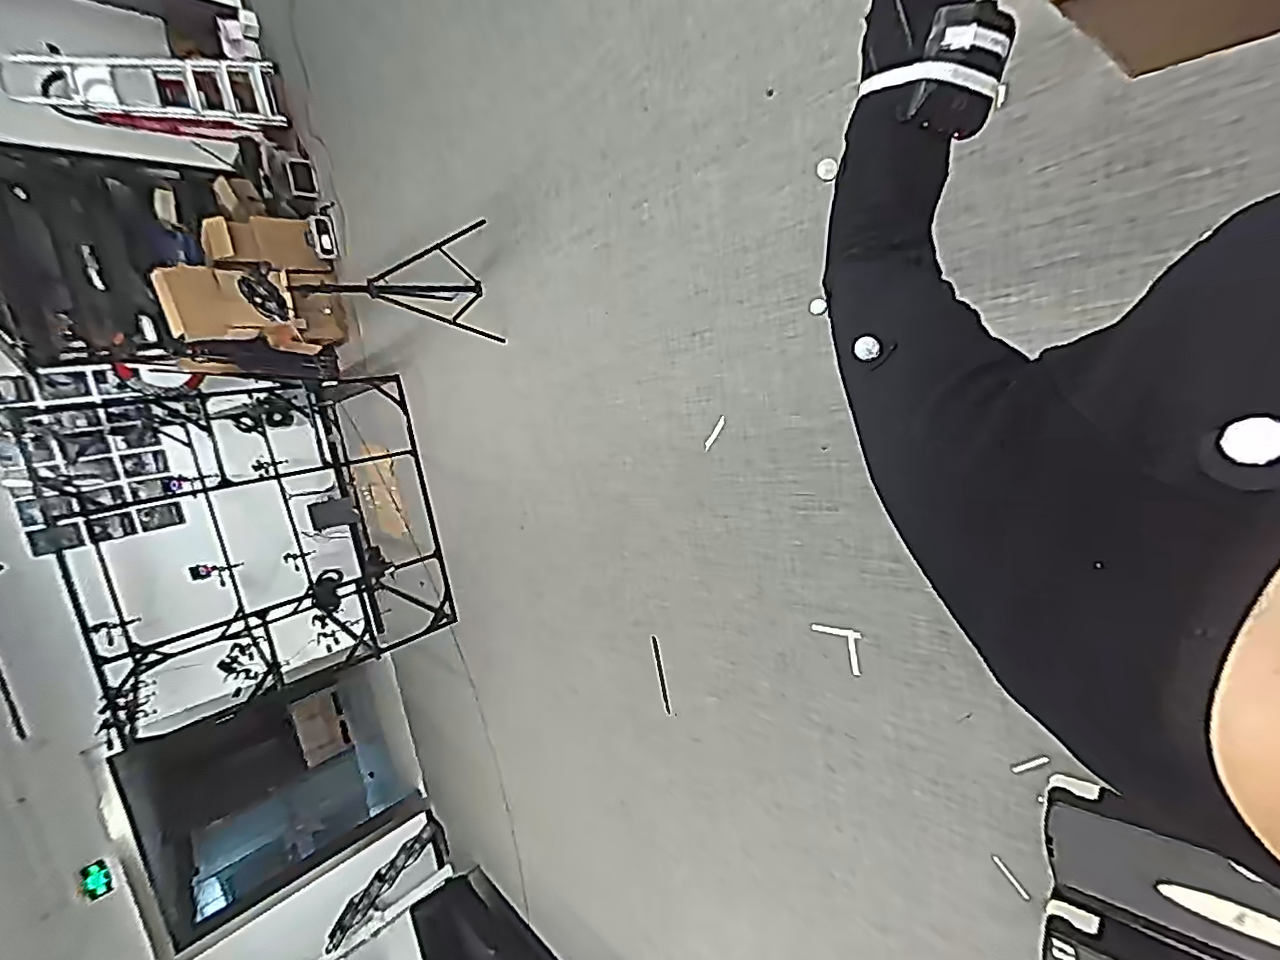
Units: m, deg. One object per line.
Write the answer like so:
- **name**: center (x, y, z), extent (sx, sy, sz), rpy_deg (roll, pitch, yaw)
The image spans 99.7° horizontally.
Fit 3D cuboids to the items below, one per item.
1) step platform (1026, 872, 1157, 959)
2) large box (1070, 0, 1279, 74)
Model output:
- **step platform**: center (1.262, 1.194, 1.178), extent (0.684, 0.204, 0.286), rpy_deg (-3, 101, 50)
- **large box**: center (0.485, -0.479, 0.258), extent (0.408, 0.320, 0.320), rpy_deg (10, 115, 47)
